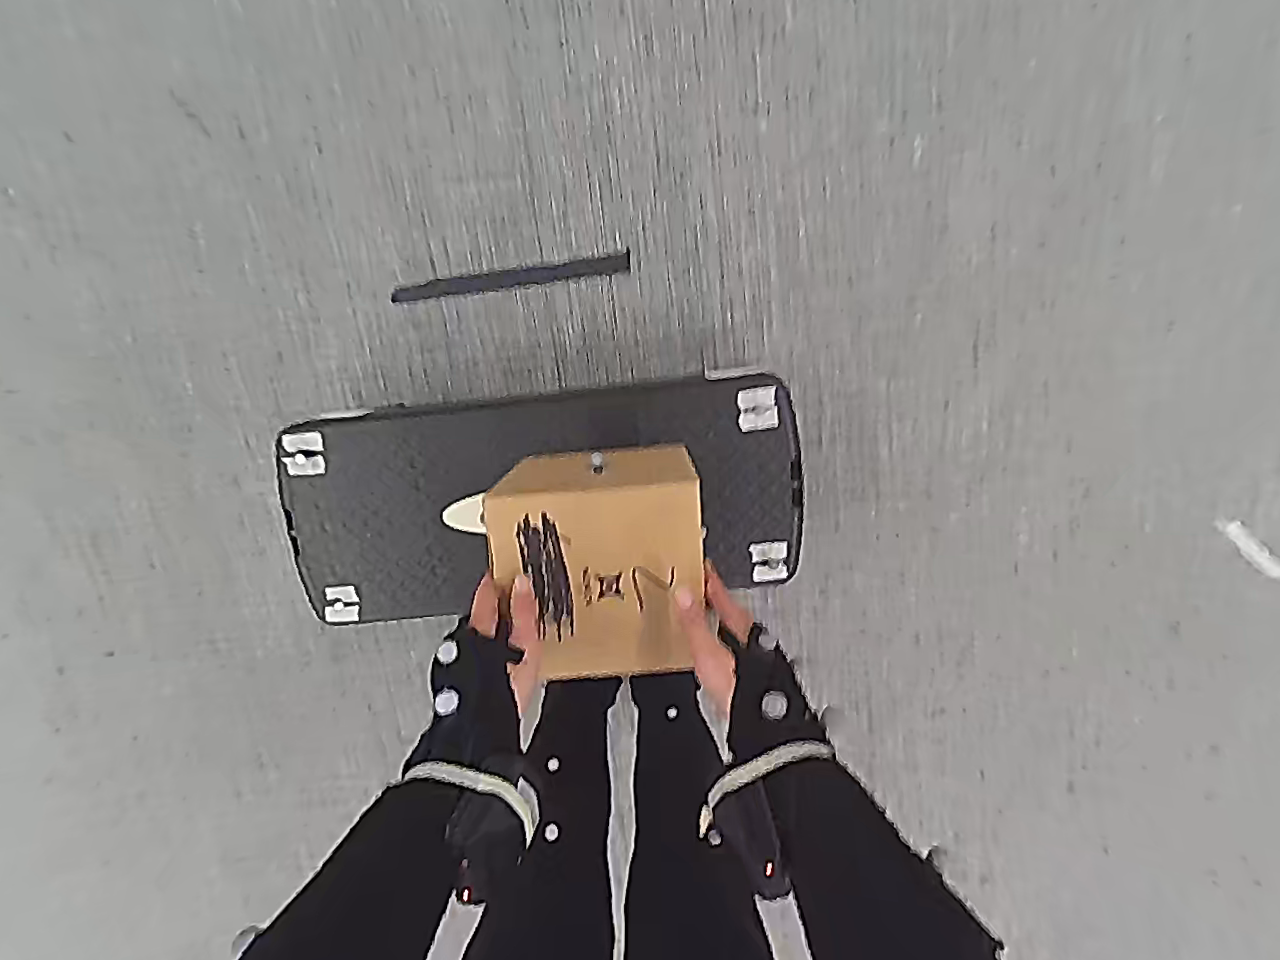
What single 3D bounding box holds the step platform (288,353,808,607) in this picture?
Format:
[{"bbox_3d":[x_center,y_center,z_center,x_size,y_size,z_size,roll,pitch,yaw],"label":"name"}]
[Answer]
[{"bbox_3d":[-0.116,-0.005,0.773,0.684,0.204,0.286,-6,100,2],"label":"step platform"}]
